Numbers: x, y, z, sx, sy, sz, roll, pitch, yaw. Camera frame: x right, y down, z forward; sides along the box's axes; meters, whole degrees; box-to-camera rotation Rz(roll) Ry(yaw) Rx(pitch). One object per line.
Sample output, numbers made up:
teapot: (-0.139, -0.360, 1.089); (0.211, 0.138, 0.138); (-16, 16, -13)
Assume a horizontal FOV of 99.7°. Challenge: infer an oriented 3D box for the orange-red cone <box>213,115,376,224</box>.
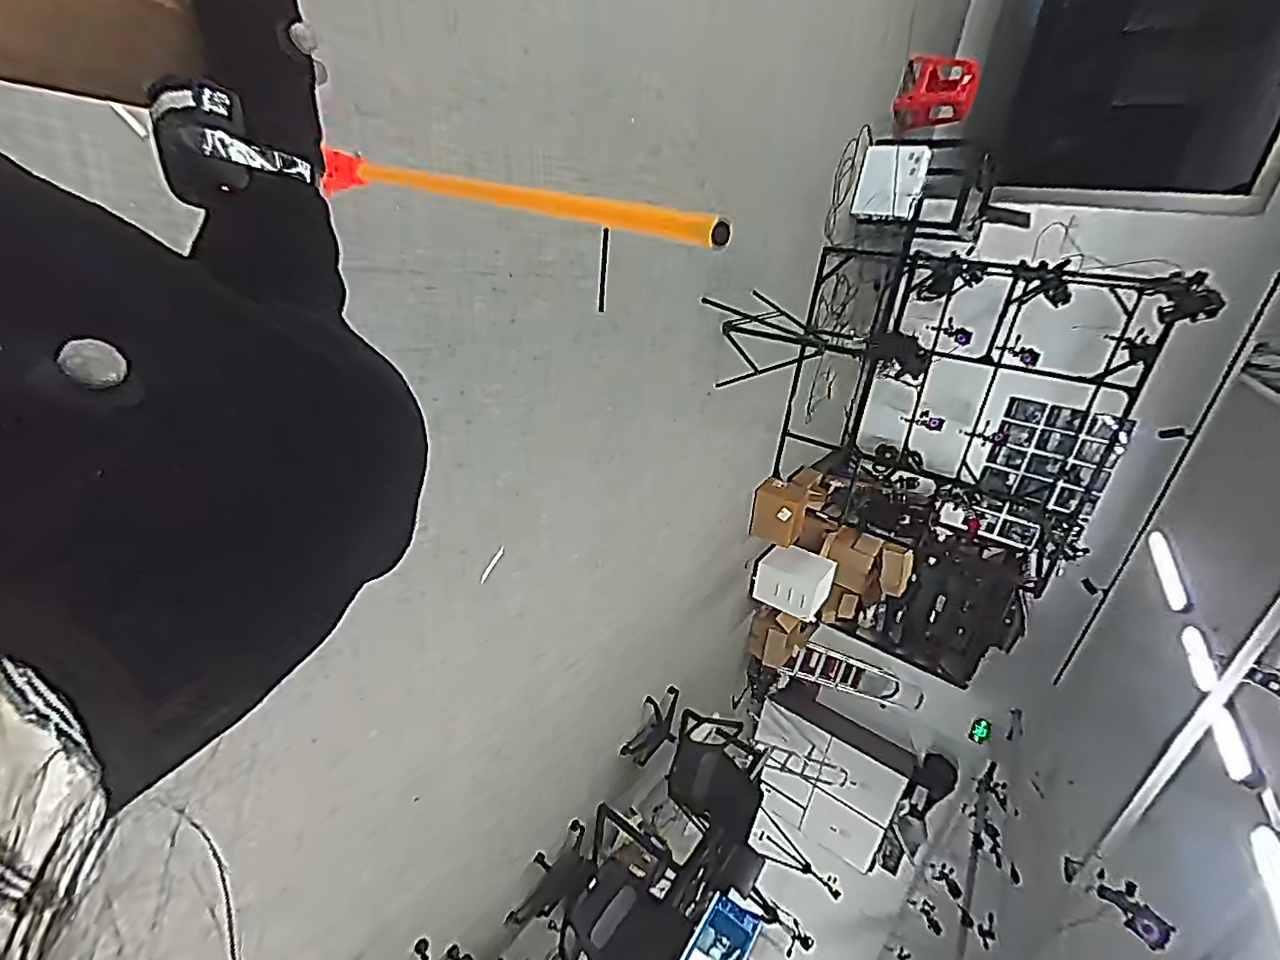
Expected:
orange-red cone: (-0.643, -0.606, 1.078); (0.199, 0.360, 0.198); (-35, 137, -45)
